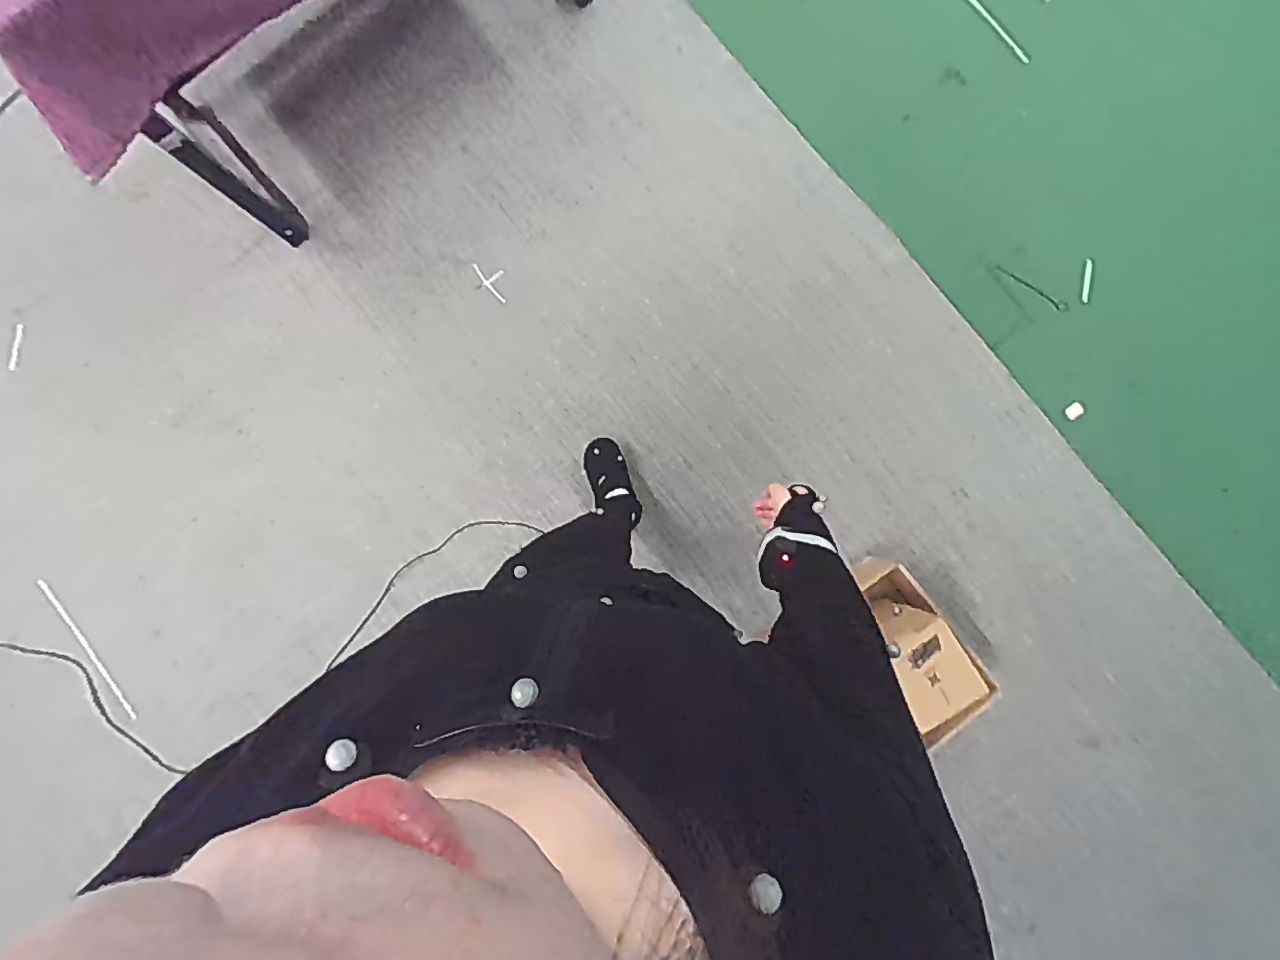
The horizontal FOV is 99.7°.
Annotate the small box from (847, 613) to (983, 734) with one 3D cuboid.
[{"bbox_3d":[0.584,0.407,1.178,0.168,0.176,0.179,-31,87,0],"label":"small box"}]
